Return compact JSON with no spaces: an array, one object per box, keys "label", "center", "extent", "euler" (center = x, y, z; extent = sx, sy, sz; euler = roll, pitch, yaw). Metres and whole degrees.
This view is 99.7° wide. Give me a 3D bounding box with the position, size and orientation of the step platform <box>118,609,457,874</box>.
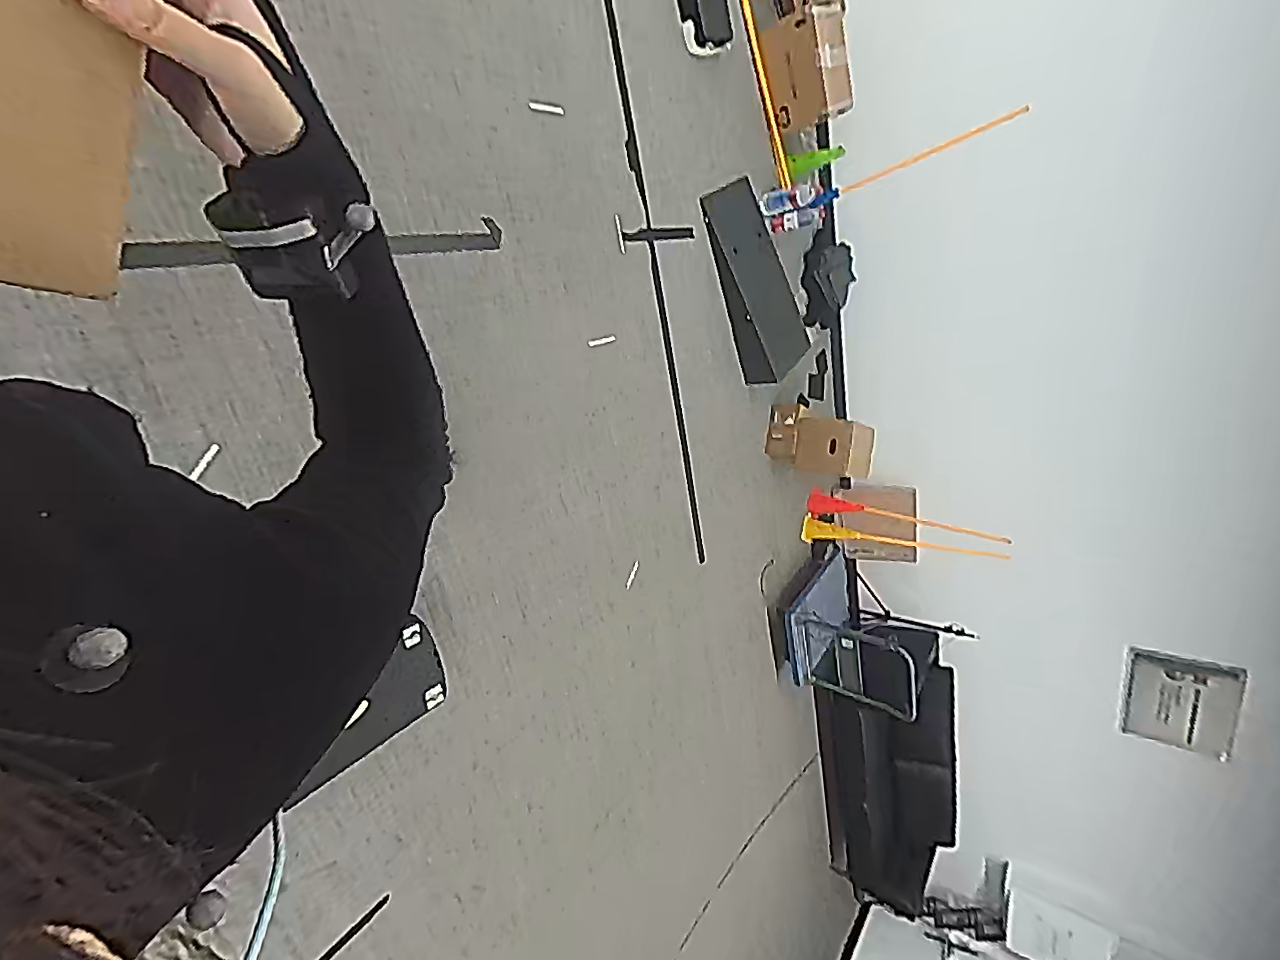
[{"label":"step platform","center":[-0.798,0.588,1.334],"extent":[0.684,0.204,0.286],"euler":[-22,110,-47]}]
